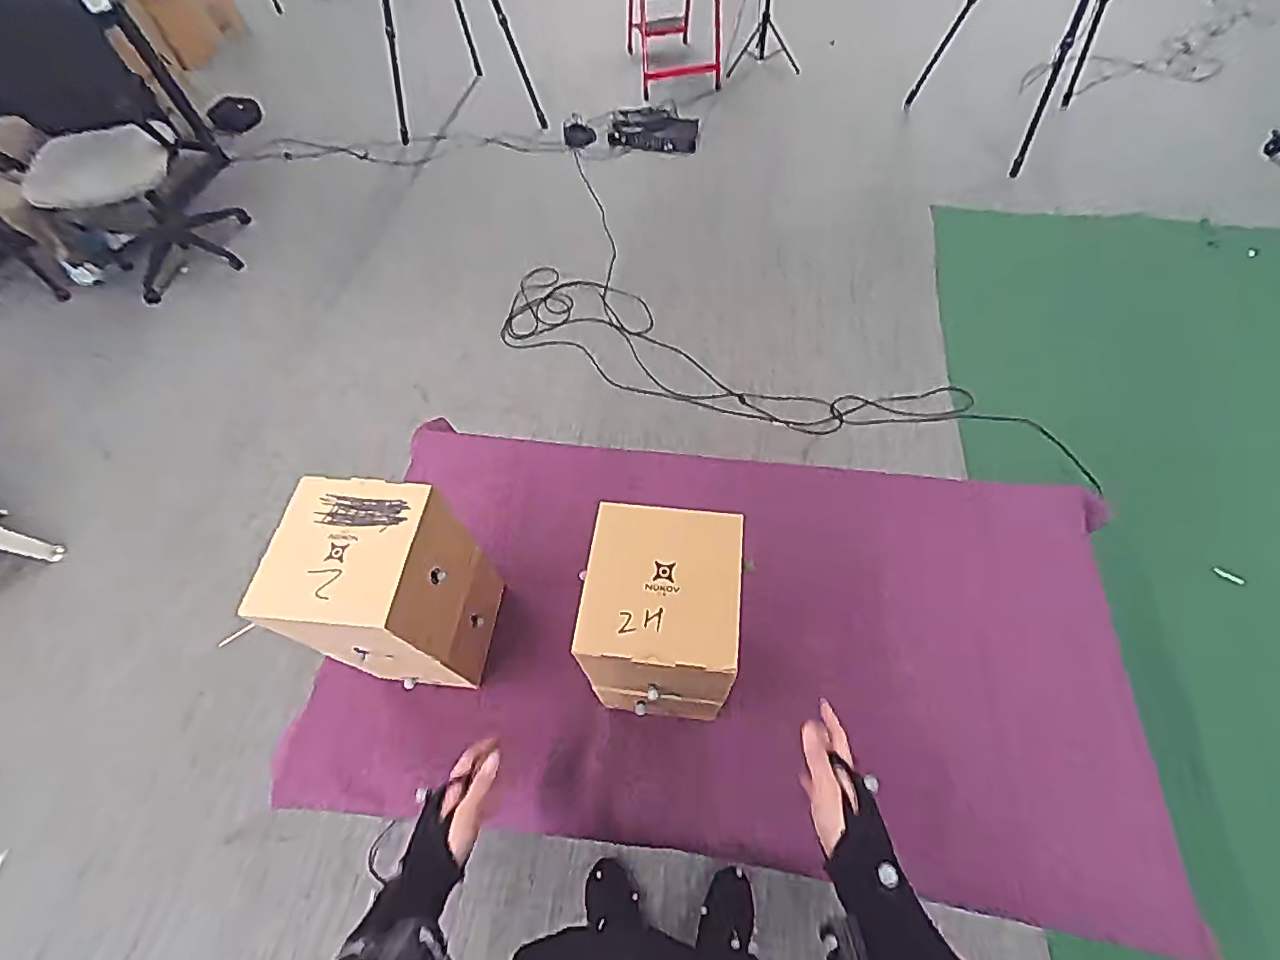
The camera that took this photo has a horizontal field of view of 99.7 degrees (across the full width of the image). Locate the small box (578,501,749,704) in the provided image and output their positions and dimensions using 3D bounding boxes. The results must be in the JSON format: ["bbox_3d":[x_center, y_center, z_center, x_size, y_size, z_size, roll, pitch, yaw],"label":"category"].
[{"bbox_3d":[0.032,0.148,0.638,0.168,0.176,0.179,5,58,7],"label":"small box"}]

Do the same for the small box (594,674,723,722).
[{"bbox_3d":[0.037,0.239,0.776,0.168,0.176,0.179,4,58,5],"label":"small box"}]

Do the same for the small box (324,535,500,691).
[{"bbox_3d":[-0.321,0.202,0.809,0.168,0.176,0.179,4,59,5],"label":"small box"}]
